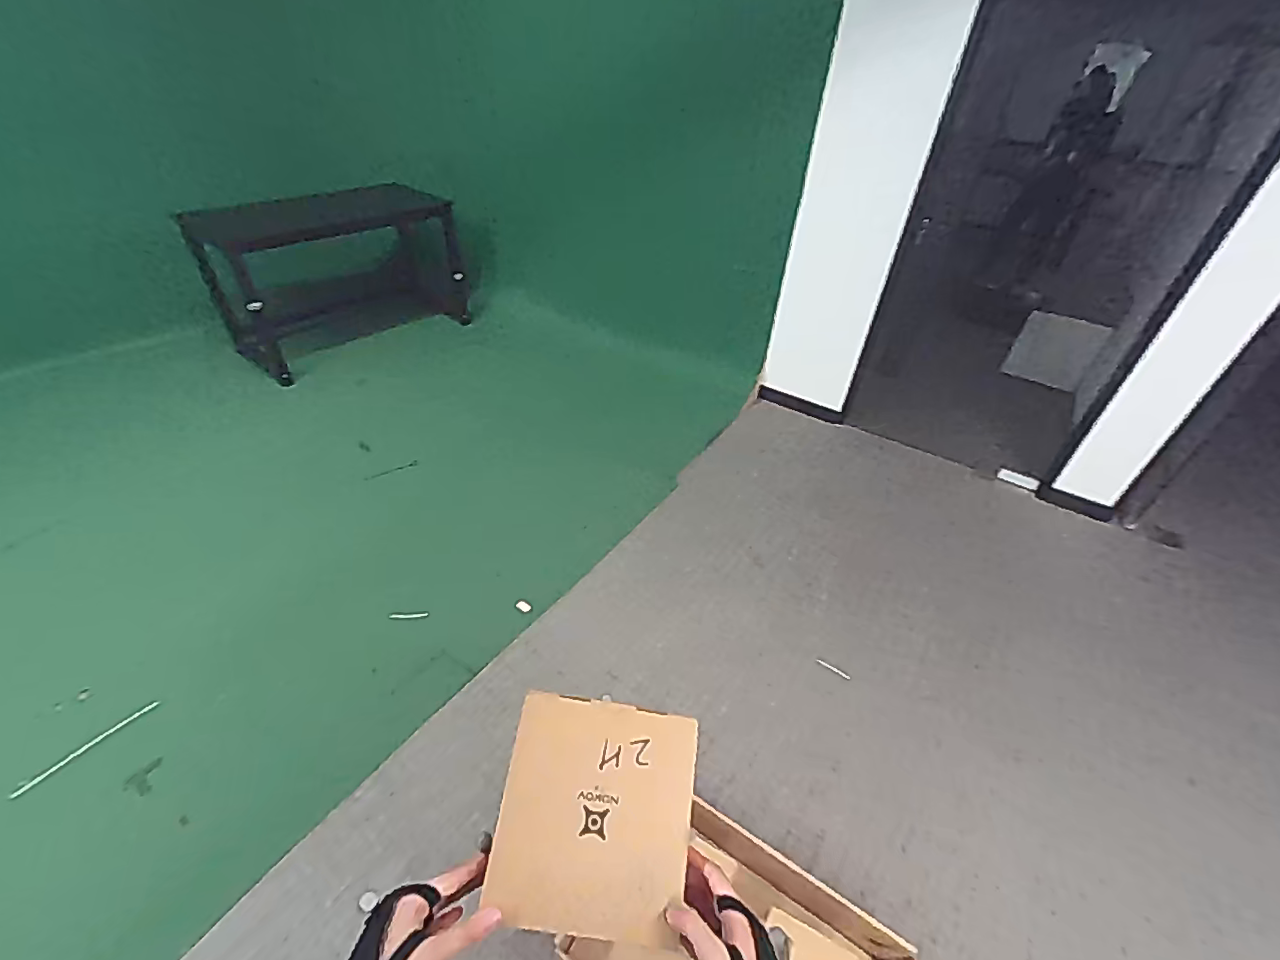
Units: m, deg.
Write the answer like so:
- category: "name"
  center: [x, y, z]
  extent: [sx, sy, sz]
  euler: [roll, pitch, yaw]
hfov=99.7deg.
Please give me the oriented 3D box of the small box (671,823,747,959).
- category: "small box"
  center: [0.107, 0.878, 1.155]
  extent: [0.179, 0.176, 0.168]
  euler: [22, 45, 21]

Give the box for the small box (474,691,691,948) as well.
- category: "small box"
  center: [-0.052, 0.323, 0.541]
  extent: [0.168, 0.176, 0.179]
  euler: [10, 62, -4]

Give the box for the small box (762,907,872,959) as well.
- category: "small box"
  center: [0.323, 0.982, 1.041]
  extent: [0.179, 0.176, 0.168]
  euler: [19, 43, 19]
